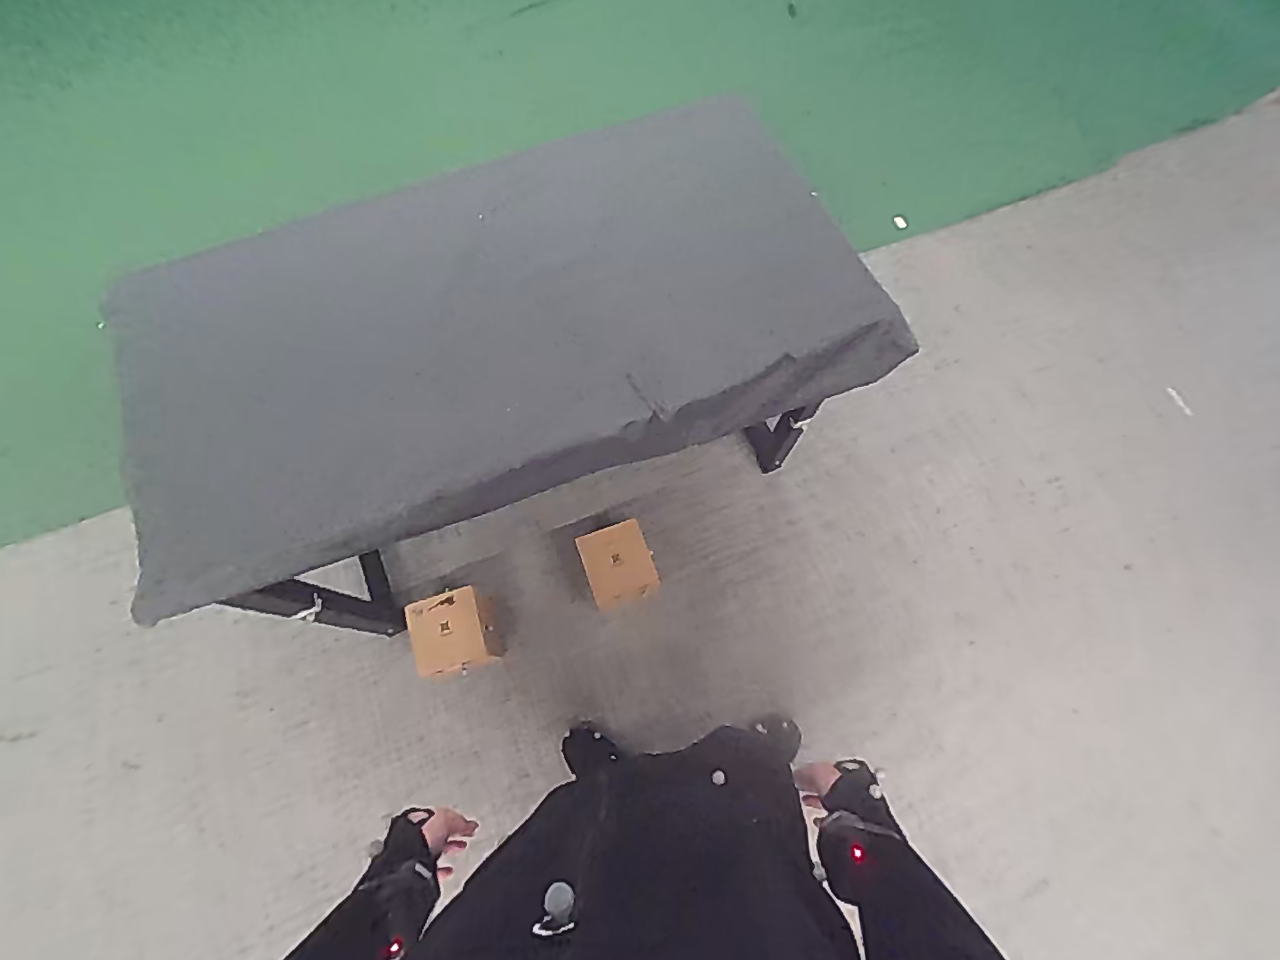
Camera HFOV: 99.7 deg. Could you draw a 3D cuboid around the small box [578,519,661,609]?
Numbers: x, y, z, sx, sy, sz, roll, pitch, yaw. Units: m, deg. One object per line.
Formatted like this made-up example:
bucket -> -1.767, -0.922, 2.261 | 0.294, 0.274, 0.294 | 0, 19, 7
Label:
small box -> -0.050, 0.227, 1.412 | 0.168, 0.176, 0.179 | -19, 68, -8
